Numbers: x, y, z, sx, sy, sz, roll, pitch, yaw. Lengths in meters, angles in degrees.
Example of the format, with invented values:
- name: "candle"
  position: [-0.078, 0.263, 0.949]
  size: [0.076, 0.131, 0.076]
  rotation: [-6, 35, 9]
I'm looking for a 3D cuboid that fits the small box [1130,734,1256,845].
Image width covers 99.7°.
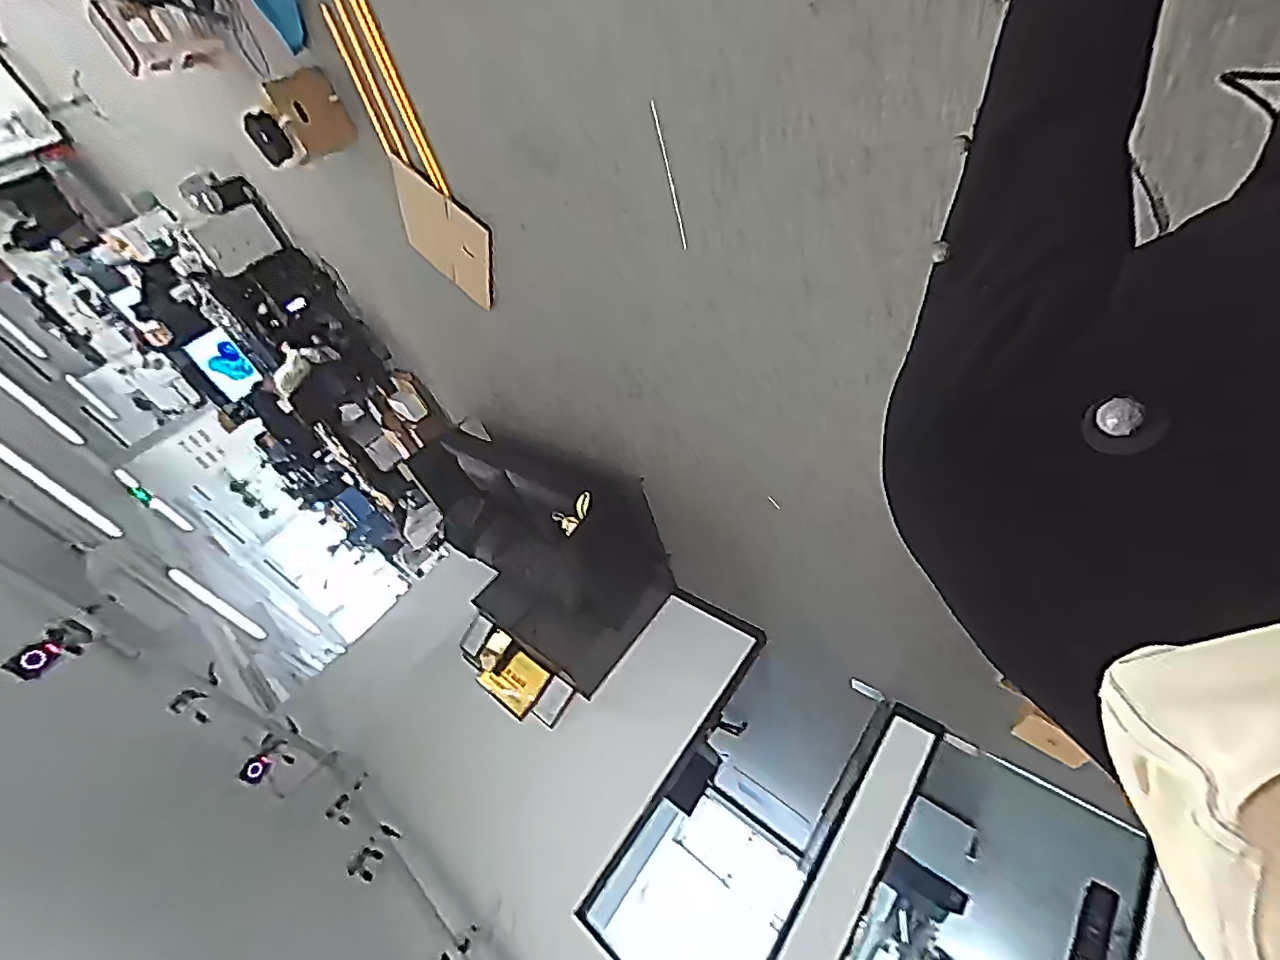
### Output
- name: "small box"
  position: [1.430, 0.796, 1.398]
  size: [0.168, 0.176, 0.179]
  rotation: [28, 149, 31]

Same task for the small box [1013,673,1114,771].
- name: "small box"
  position: [1.212, 0.687, 1.546]
  size: [0.168, 0.176, 0.179]
  rotation: [28, 151, 32]
